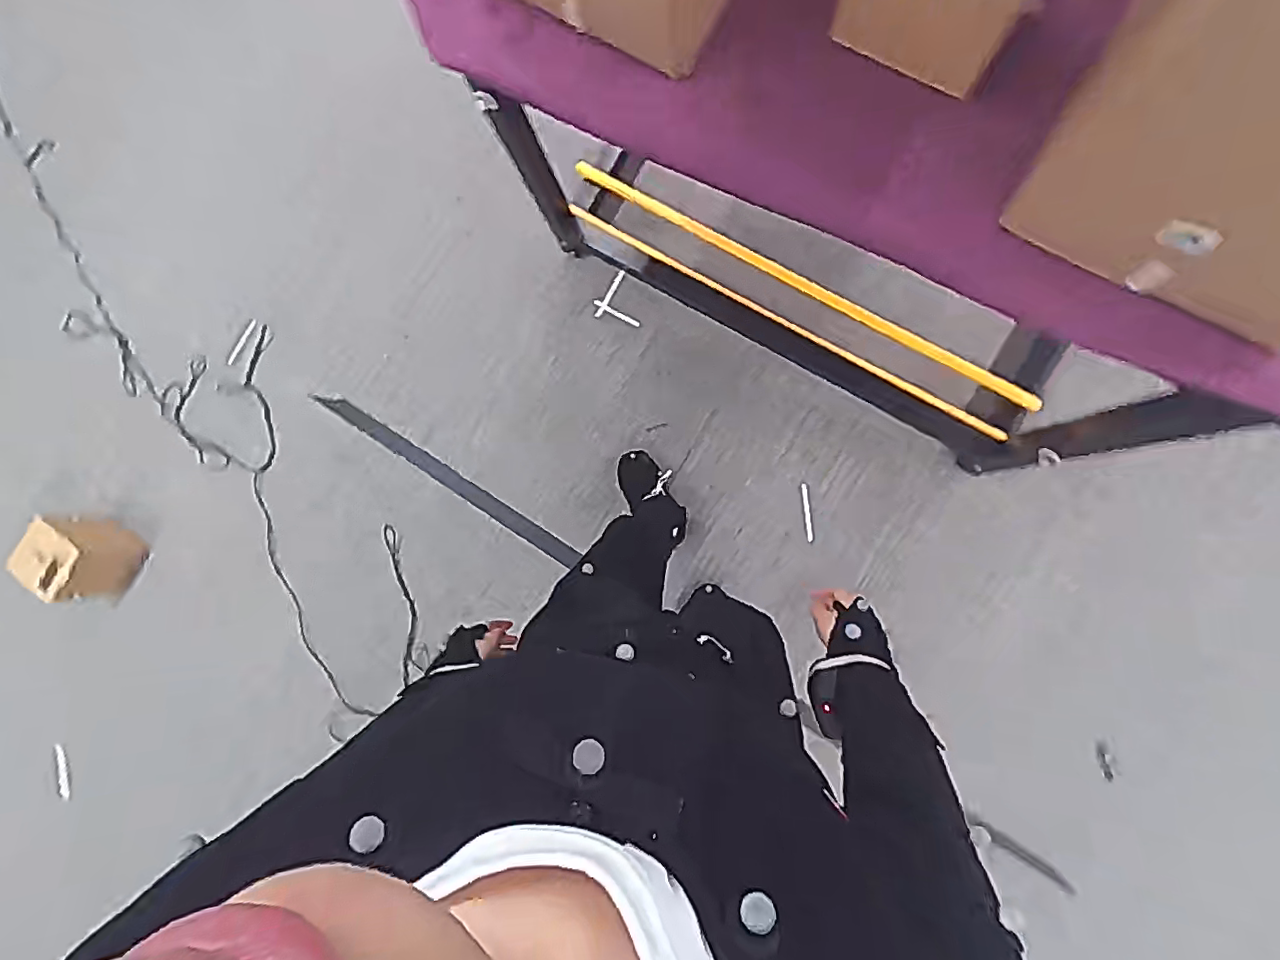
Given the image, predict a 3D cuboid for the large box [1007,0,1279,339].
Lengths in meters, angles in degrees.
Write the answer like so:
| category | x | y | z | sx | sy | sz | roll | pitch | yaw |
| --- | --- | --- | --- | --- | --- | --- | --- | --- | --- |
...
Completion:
| category | x | y | z | sx | sy | sz | roll | pitch | yaw |
| --- | --- | --- | --- | --- | --- | --- | --- | --- | --- |
| large box | 0.602 | -0.391 | 0.430 | 0.320 | 0.320 | 0.408 | 30 | 89 | 8 |
